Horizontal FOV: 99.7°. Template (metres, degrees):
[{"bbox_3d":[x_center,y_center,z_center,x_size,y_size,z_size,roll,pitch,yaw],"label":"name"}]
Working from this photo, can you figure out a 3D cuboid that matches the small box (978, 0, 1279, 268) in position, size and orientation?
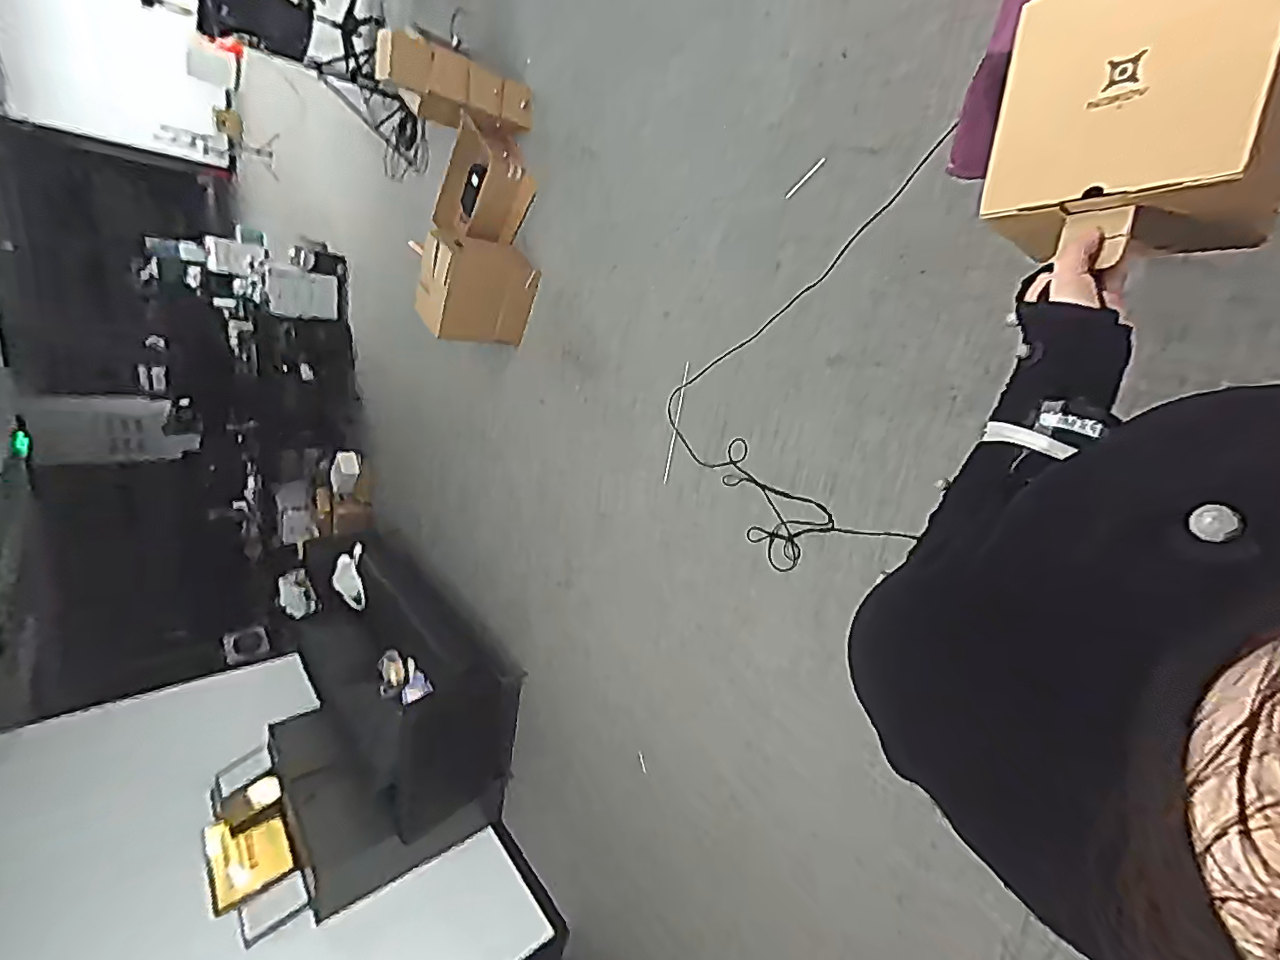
[{"bbox_3d":[0.434,-0.302,0.472,0.168,0.176,0.179,19,104,51],"label":"small box"}]
